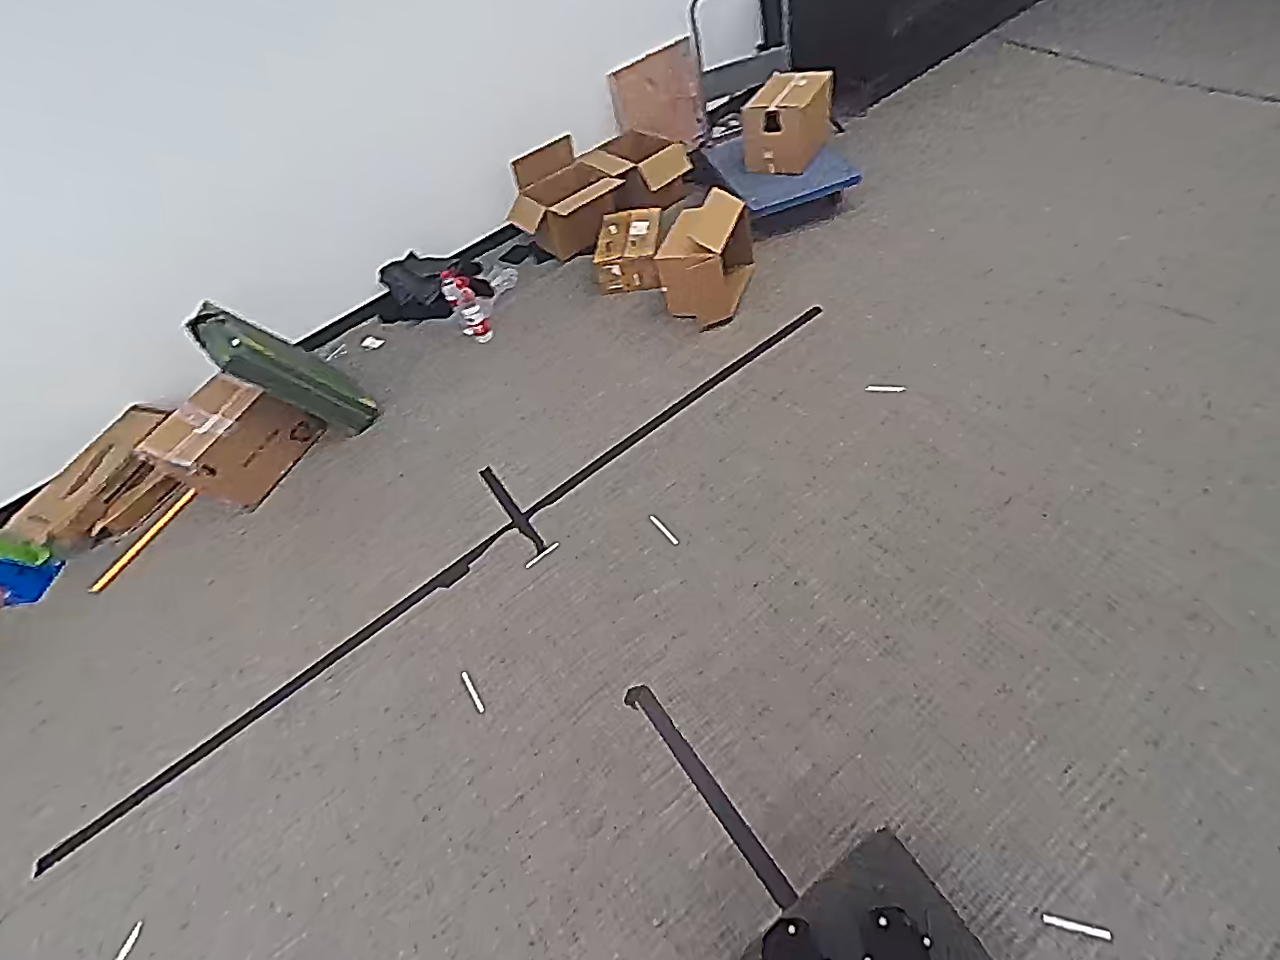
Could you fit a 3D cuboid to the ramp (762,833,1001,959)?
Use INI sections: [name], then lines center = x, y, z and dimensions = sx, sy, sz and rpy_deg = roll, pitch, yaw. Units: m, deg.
[ramp]
center = 0.633, 1.203, 0.864
dimensions = 0.509, 0.206, 0.991
rpy_deg = -36, 53, -14
